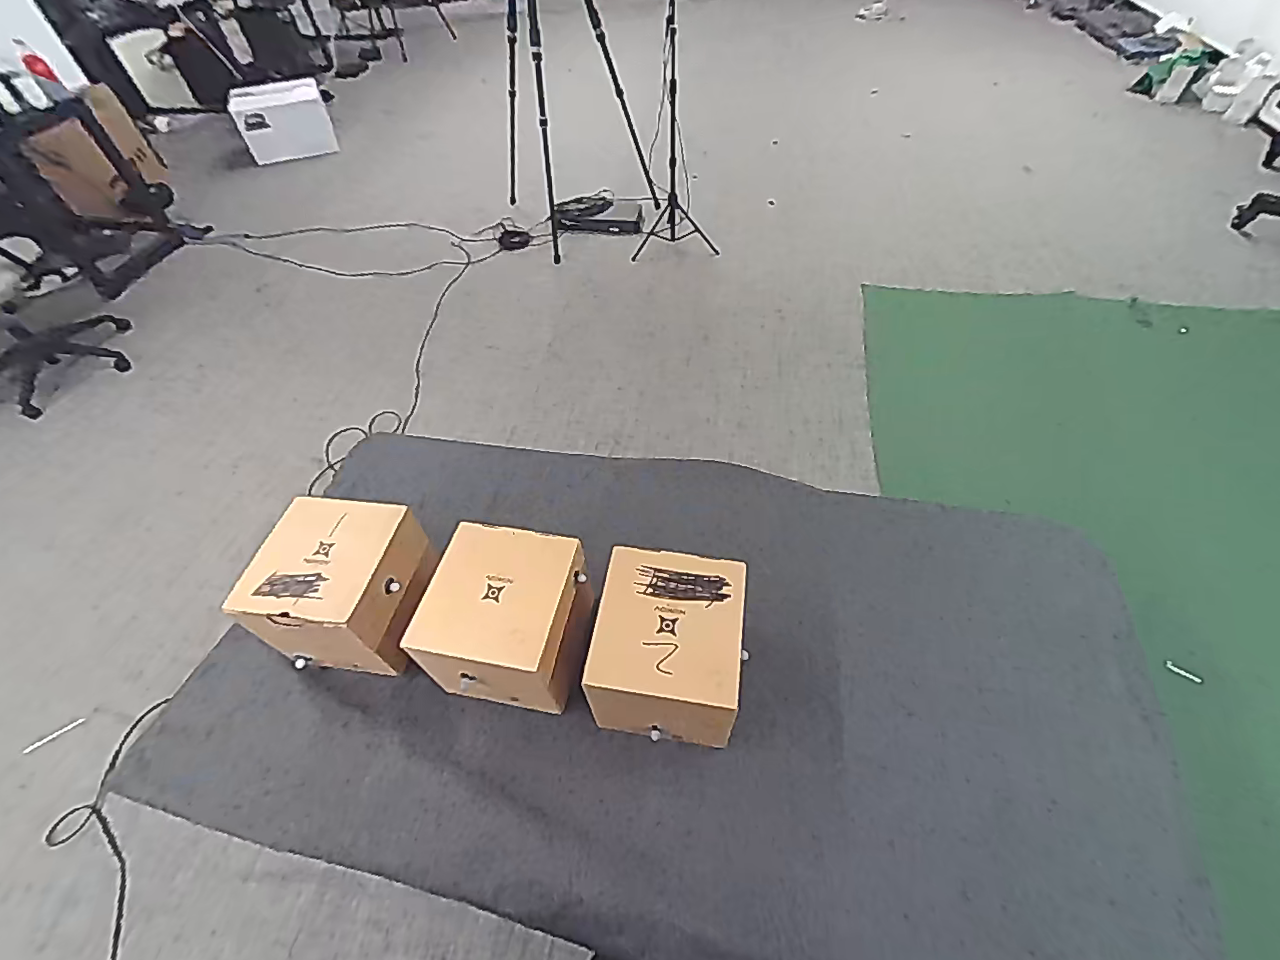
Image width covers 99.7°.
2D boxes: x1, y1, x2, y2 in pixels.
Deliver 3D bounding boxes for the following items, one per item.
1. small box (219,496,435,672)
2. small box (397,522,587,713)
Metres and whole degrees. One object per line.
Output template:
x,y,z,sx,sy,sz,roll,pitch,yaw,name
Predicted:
-0.402,0.145,0.740,0.168,0.176,0.179,5,50,7,small box
-0.172,0.181,0.701,0.168,0.176,0.179,8,51,9,small box
